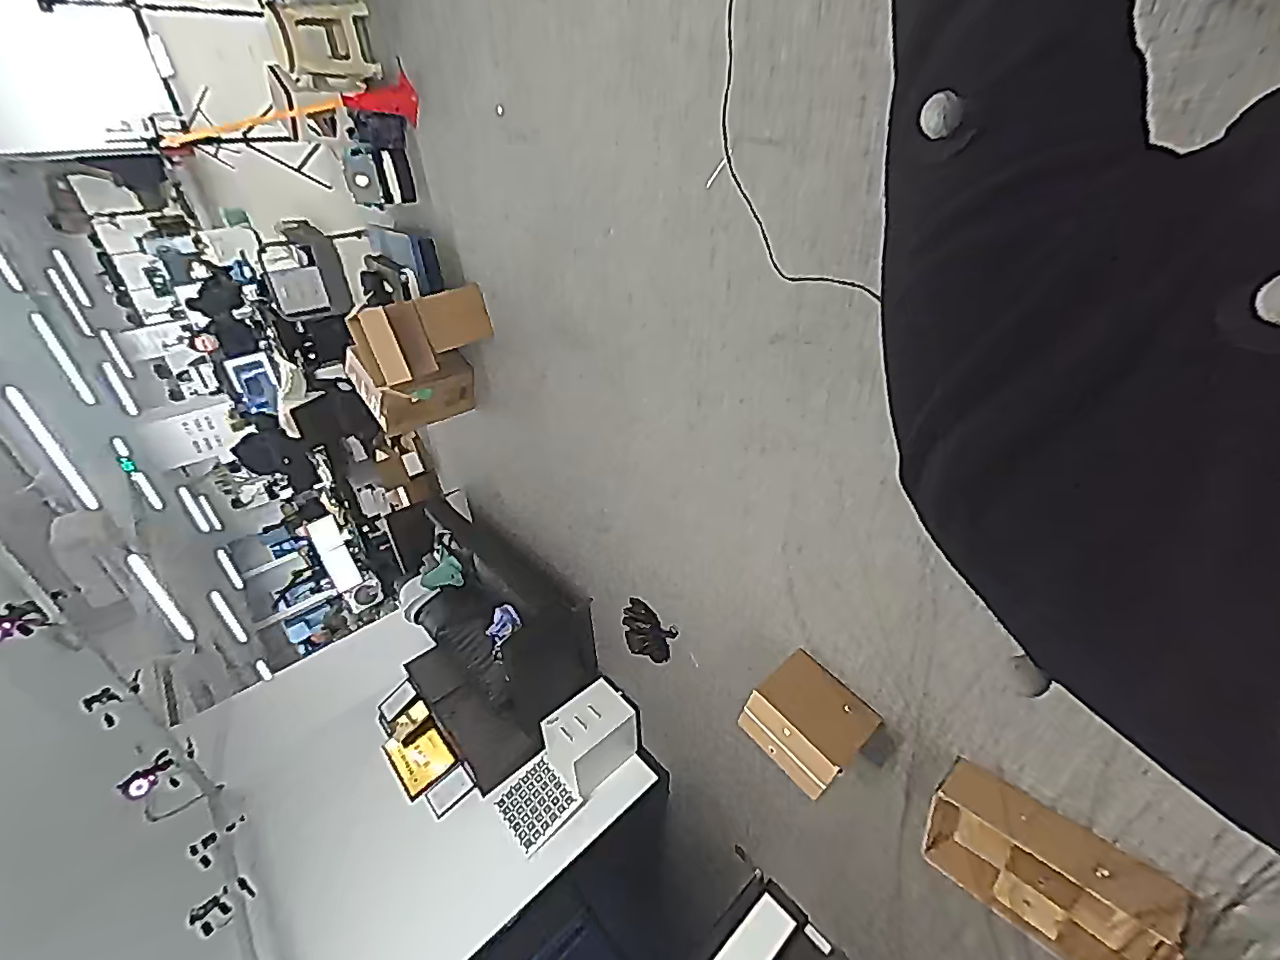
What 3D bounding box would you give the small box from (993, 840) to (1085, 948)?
[{"bbox_3d":[1.245,1.282,1.687,0.179,0.176,0.168,25,131,45],"label":"small box"}]
